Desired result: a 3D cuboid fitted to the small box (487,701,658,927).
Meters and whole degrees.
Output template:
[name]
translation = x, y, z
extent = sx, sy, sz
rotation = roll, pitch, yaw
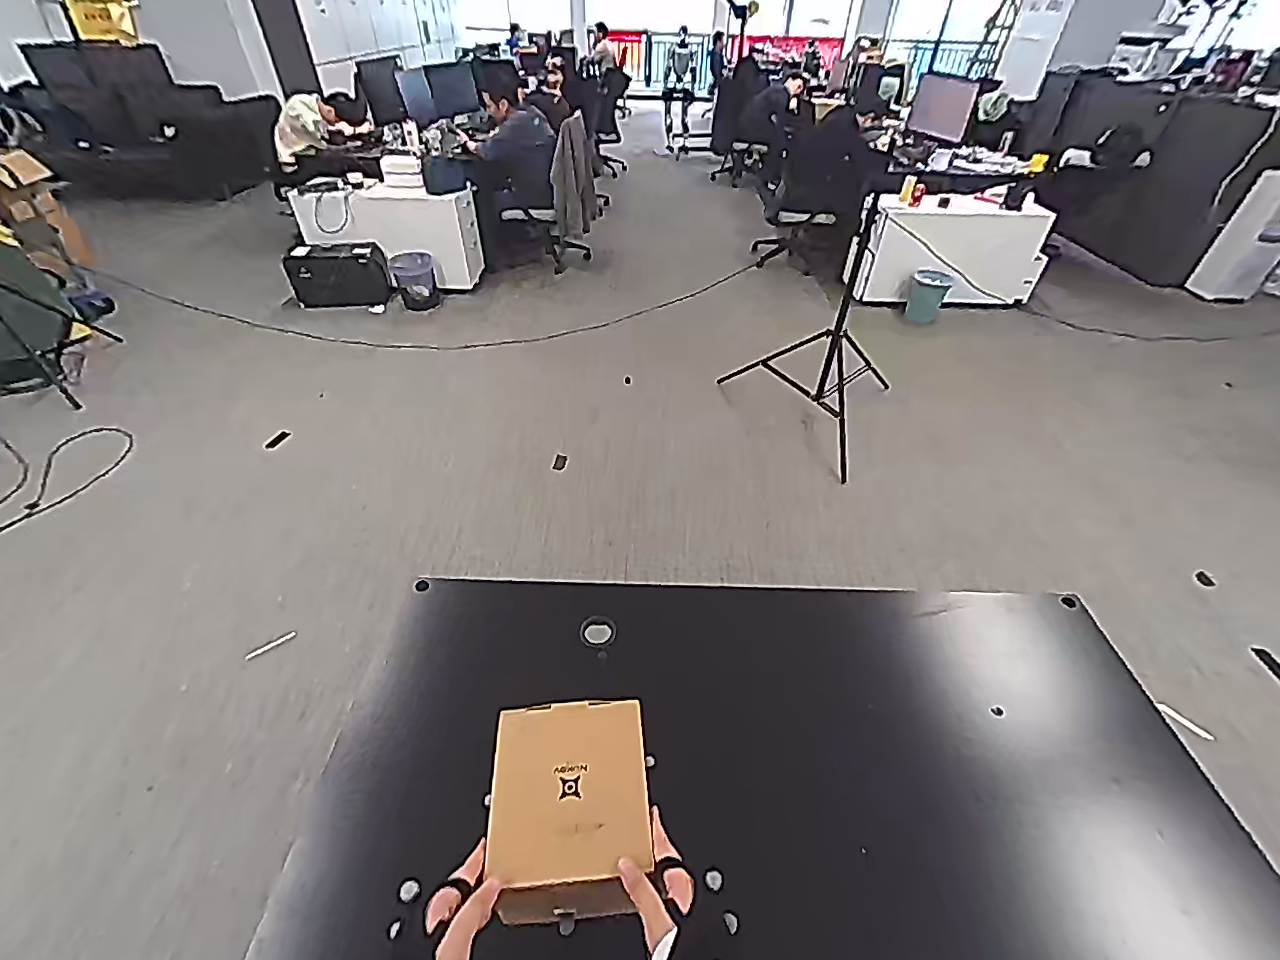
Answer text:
[small box]
translation = -0.073, 0.385, 0.628
extent = 0.168, 0.176, 0.179
rotation = -4, 42, -5
